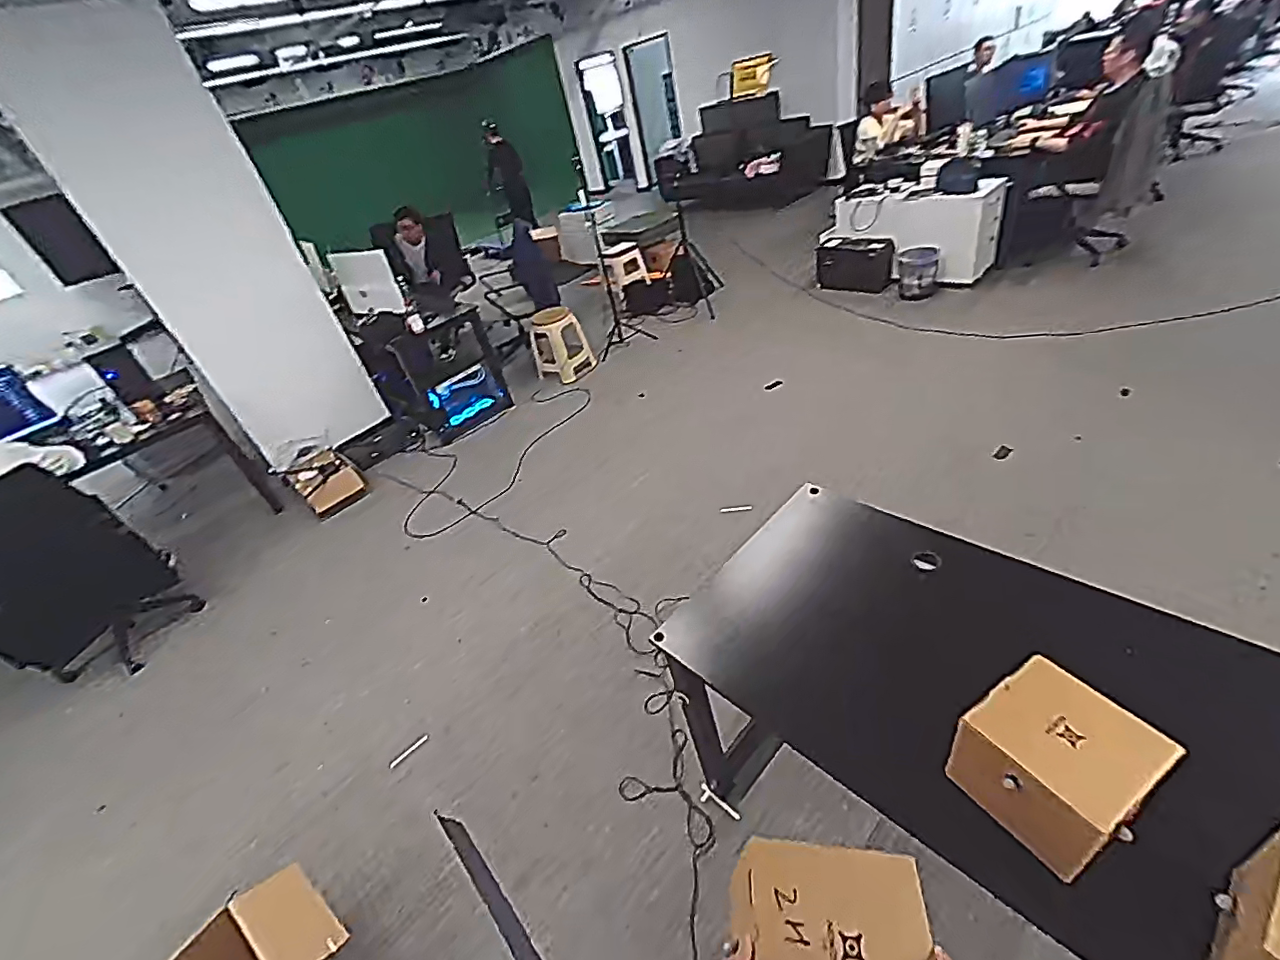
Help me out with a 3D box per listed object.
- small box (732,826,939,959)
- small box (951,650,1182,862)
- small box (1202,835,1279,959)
[{"bbox_3d":[0.194,0.492,0.569,0.179,0.176,0.168,3,42,5],"label":"small box"},{"bbox_3d":[0.561,0.378,0.737,0.168,0.176,0.179,-28,37,-17],"label":"small box"},{"bbox_3d":[0.721,0.485,0.533,0.168,0.176,0.179,-36,39,-26],"label":"small box"}]
